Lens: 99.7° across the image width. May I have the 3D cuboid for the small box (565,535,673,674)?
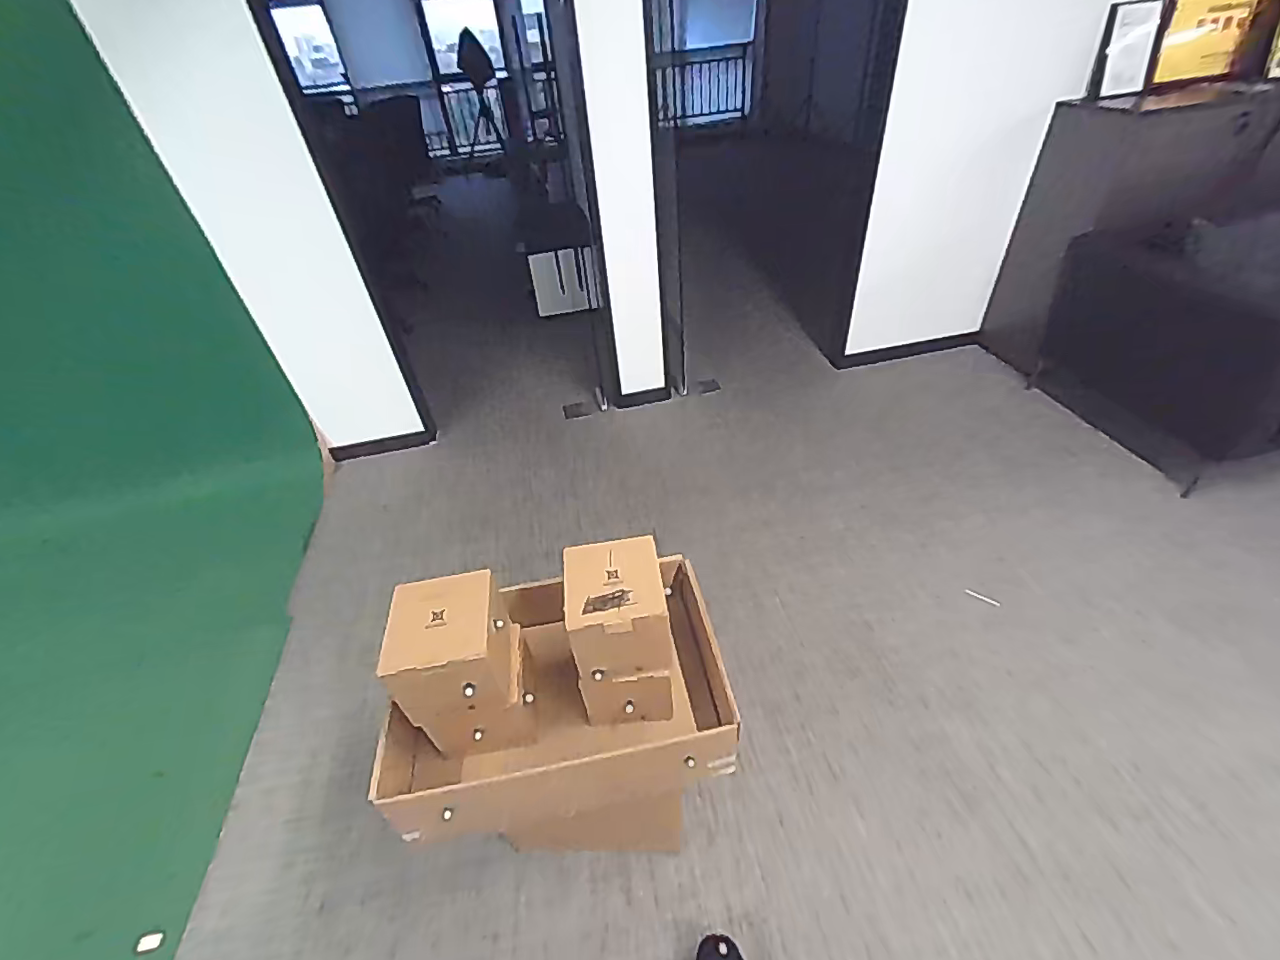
[{"bbox_3d":[-0.037,0.227,0.964,0.168,0.176,0.179,-9,40,-2],"label":"small box"}]

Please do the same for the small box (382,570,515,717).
[{"bbox_3d":[-0.317,0.287,0.936,0.168,0.176,0.179,-10,40,-4],"label":"small box"}]
